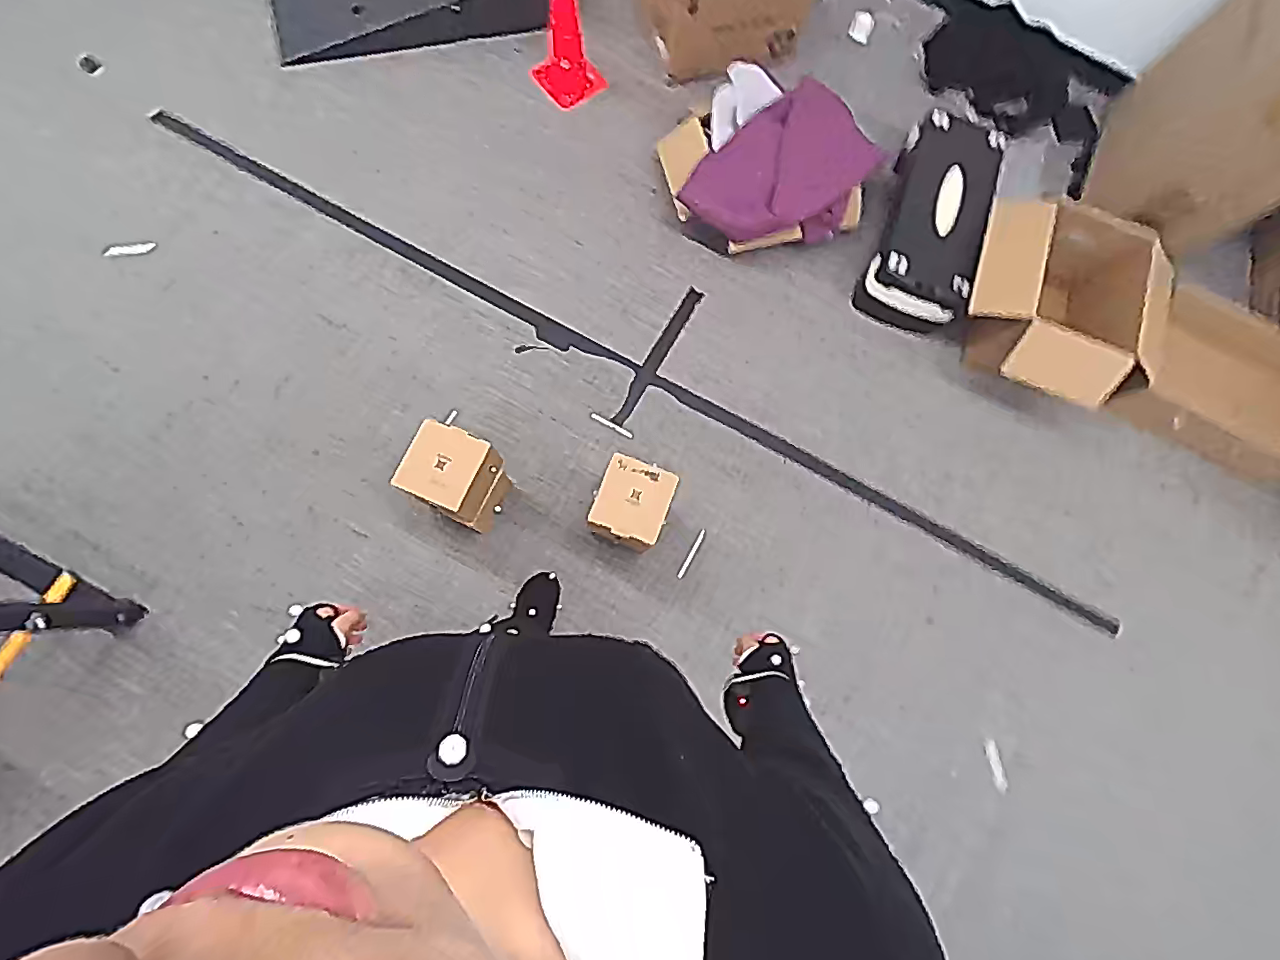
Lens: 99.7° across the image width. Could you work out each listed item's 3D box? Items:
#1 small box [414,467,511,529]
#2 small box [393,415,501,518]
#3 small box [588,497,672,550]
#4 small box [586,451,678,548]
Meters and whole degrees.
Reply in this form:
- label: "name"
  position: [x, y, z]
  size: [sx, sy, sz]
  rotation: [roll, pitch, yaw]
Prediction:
- label: "small box"
  position: [-0.467, 0.019, 1.448]
  size: [0.179, 0.176, 0.168]
  rotation: [27, 77, 0]
- label: "small box"
  position: [-0.448, -0.025, 1.292]
  size: [0.168, 0.176, 0.179]
  rotation: [23, 78, 2]
- label: "small box"
  position: [-0.030, 0.084, 1.475]
  size: [0.179, 0.176, 0.168]
  rotation: [23, 77, 0]
- label: "small box"
  position: [-0.021, 0.056, 1.313]
  size: [0.168, 0.176, 0.179]
  rotation: [22, 78, 0]
